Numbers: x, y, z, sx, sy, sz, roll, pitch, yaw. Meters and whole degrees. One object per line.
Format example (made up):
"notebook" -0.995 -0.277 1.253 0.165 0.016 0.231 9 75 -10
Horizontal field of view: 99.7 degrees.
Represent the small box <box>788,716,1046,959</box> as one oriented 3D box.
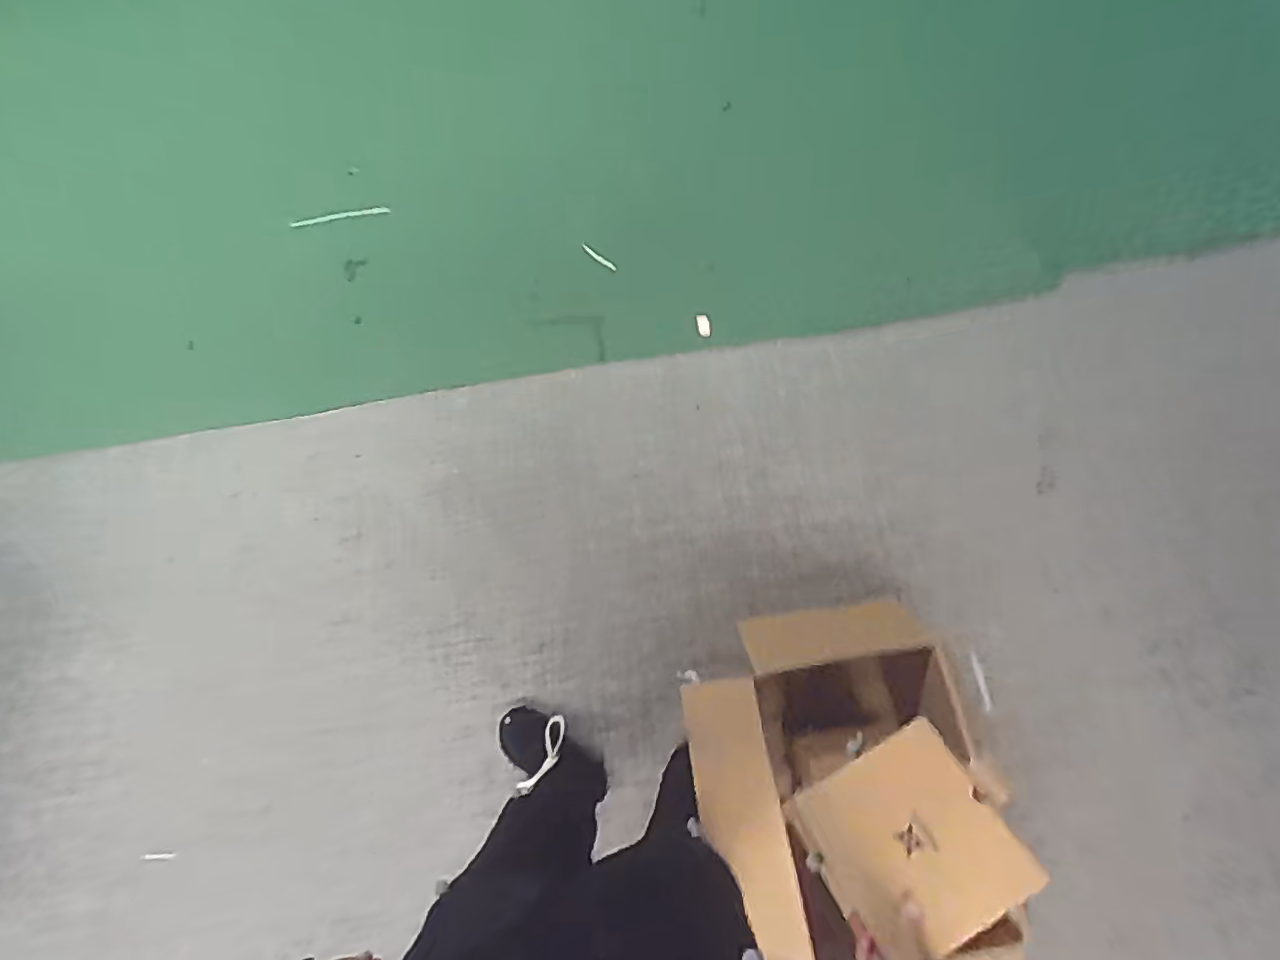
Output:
"small box" 0.281 0.396 0.598 0.179 0.176 0.168 -27 56 -9
